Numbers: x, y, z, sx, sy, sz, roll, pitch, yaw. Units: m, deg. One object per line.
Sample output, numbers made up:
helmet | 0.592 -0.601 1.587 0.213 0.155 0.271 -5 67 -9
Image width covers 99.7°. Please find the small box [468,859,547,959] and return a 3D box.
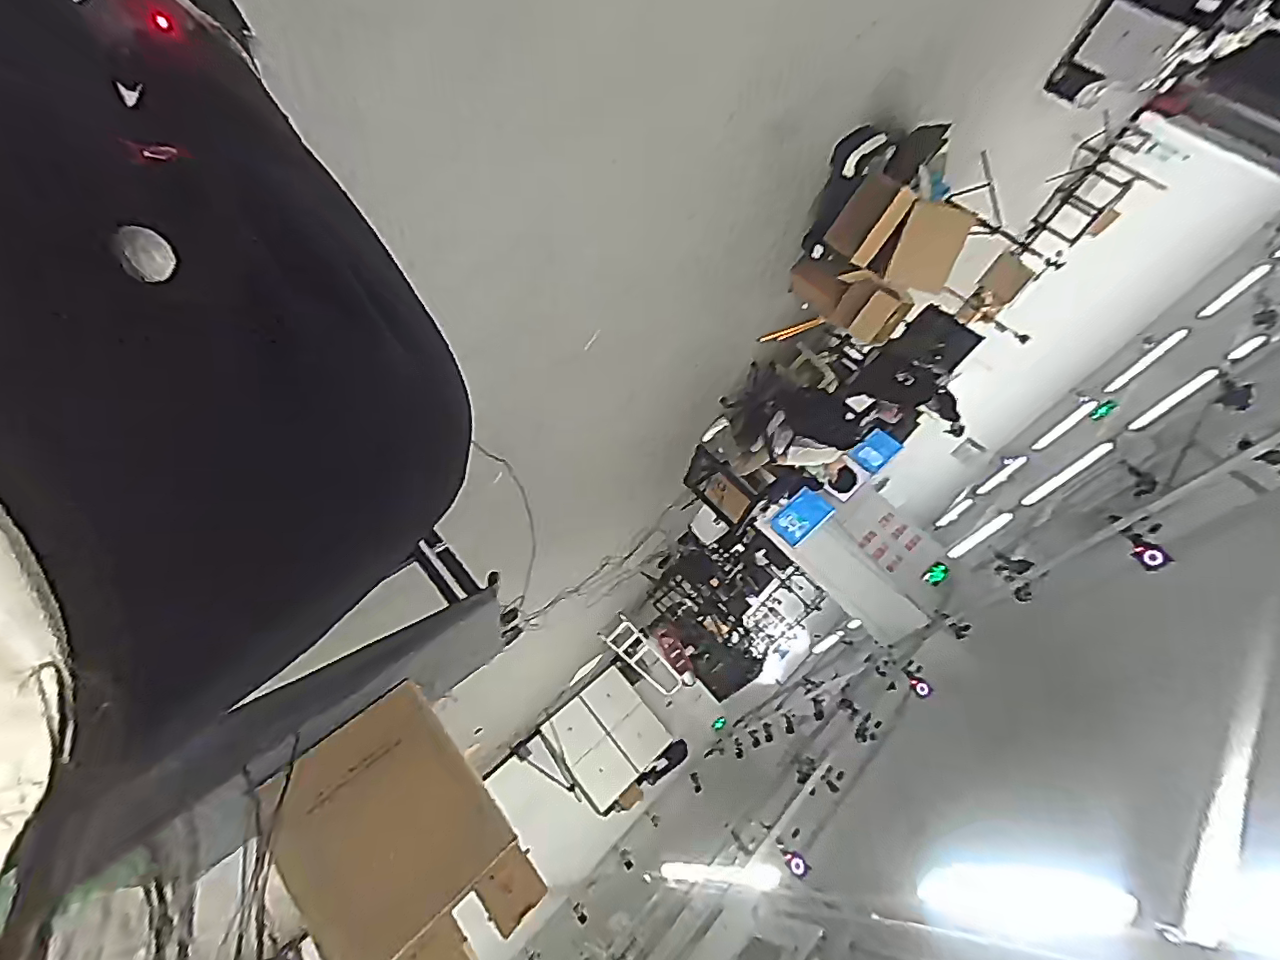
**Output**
small box | -0.394 1.271 1.611 0.168 0.176 0.179 -35 155 -30

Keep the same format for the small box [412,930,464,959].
small box | -0.574 1.391 1.488 0.168 0.176 0.179 -33 156 -28
